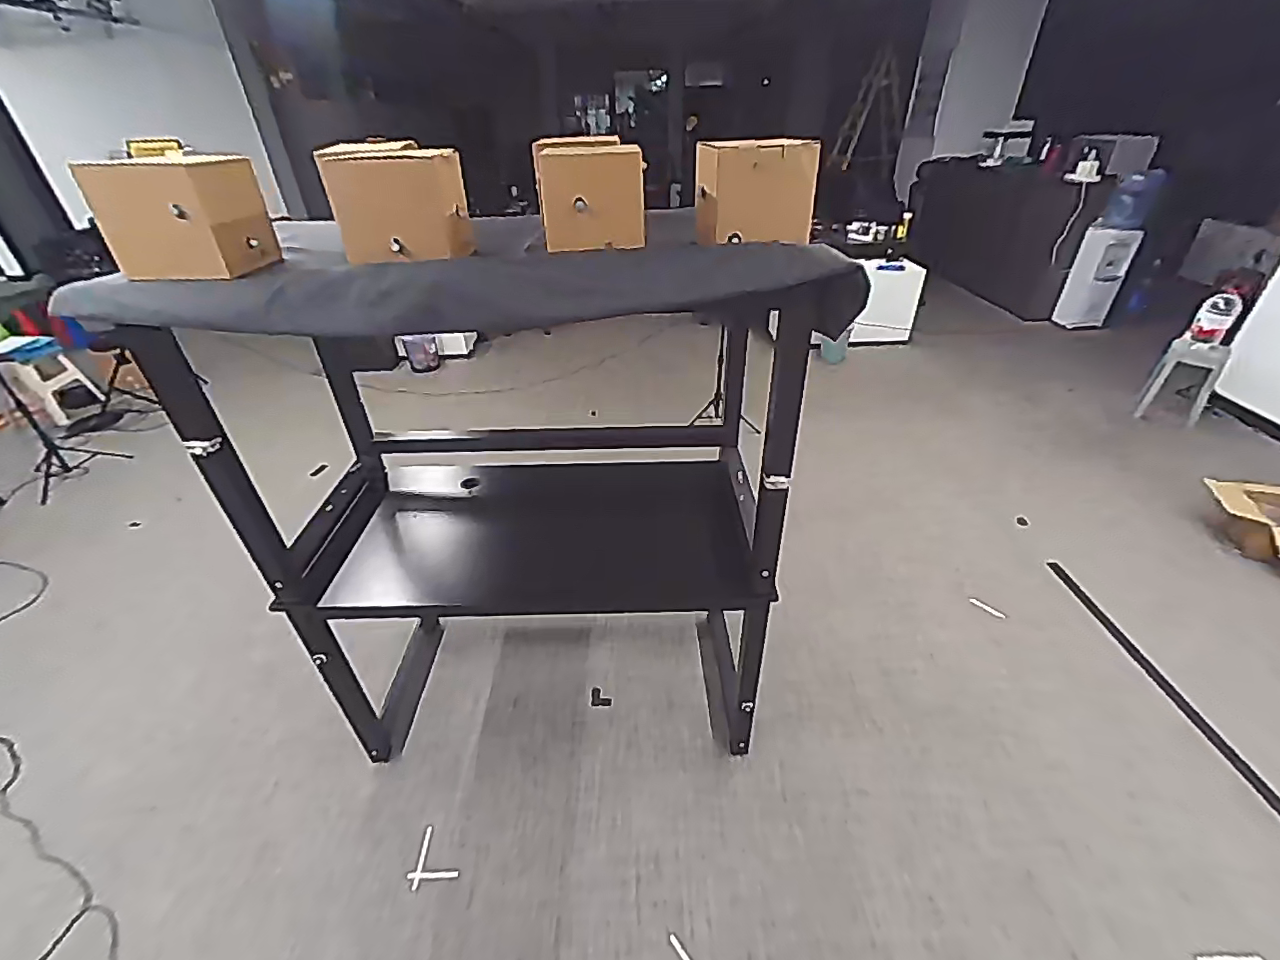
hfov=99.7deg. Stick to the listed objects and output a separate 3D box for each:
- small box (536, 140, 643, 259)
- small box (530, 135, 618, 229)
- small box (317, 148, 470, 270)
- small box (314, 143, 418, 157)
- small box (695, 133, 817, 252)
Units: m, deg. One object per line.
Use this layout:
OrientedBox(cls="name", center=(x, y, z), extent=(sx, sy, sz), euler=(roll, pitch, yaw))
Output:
OrientedBox(cls="small box", center=(-0.082, -0.494, 0.956), extent=(0.168, 0.176, 0.179), euler=(-3, 33, -2))
OrientedBox(cls="small box", center=(-0.132, -0.654, 1.190), extent=(0.179, 0.176, 0.168), euler=(-2, 35, 0))
OrientedBox(cls="small box", center=(-0.404, -0.466, 0.928), extent=(0.179, 0.176, 0.168), euler=(-2, 33, -1))
OrientedBox(cls="small box", center=(-0.564, -0.626, 1.172), extent=(0.168, 0.176, 0.179), euler=(-7, 35, -5))
OrientedBox(cls="small box", center=(0.192, -0.502, 0.948), extent=(0.168, 0.176, 0.179), euler=(-5, 33, -4))
